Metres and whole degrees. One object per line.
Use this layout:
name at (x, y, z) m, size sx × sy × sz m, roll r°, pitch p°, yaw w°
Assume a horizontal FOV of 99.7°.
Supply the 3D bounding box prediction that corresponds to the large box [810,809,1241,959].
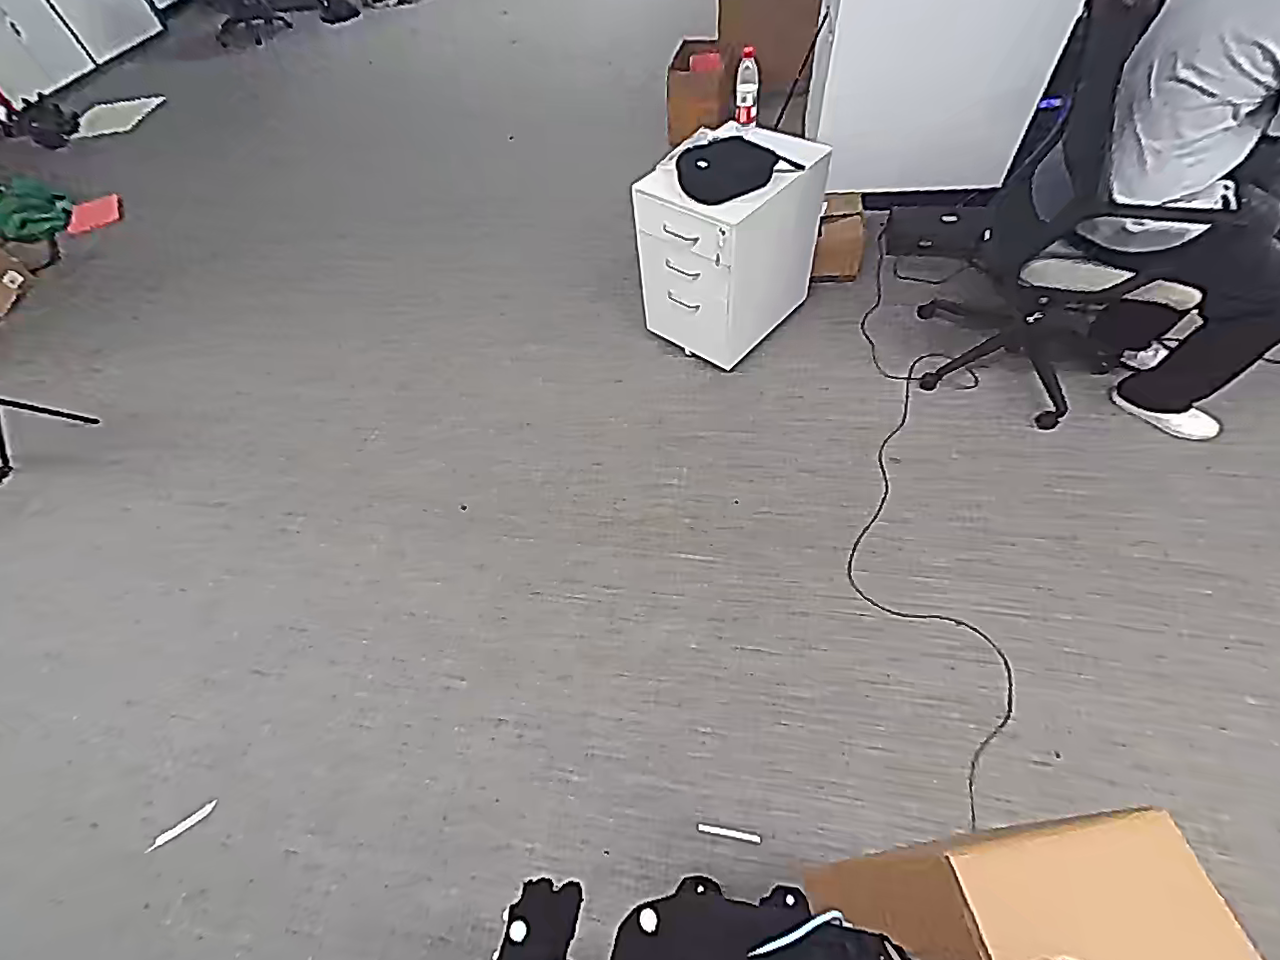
large box at (0.478, 0.647, 0.689) m, size 0.320 × 0.408 × 0.320 m, roll -2°, pitch 53°, yaw -11°
